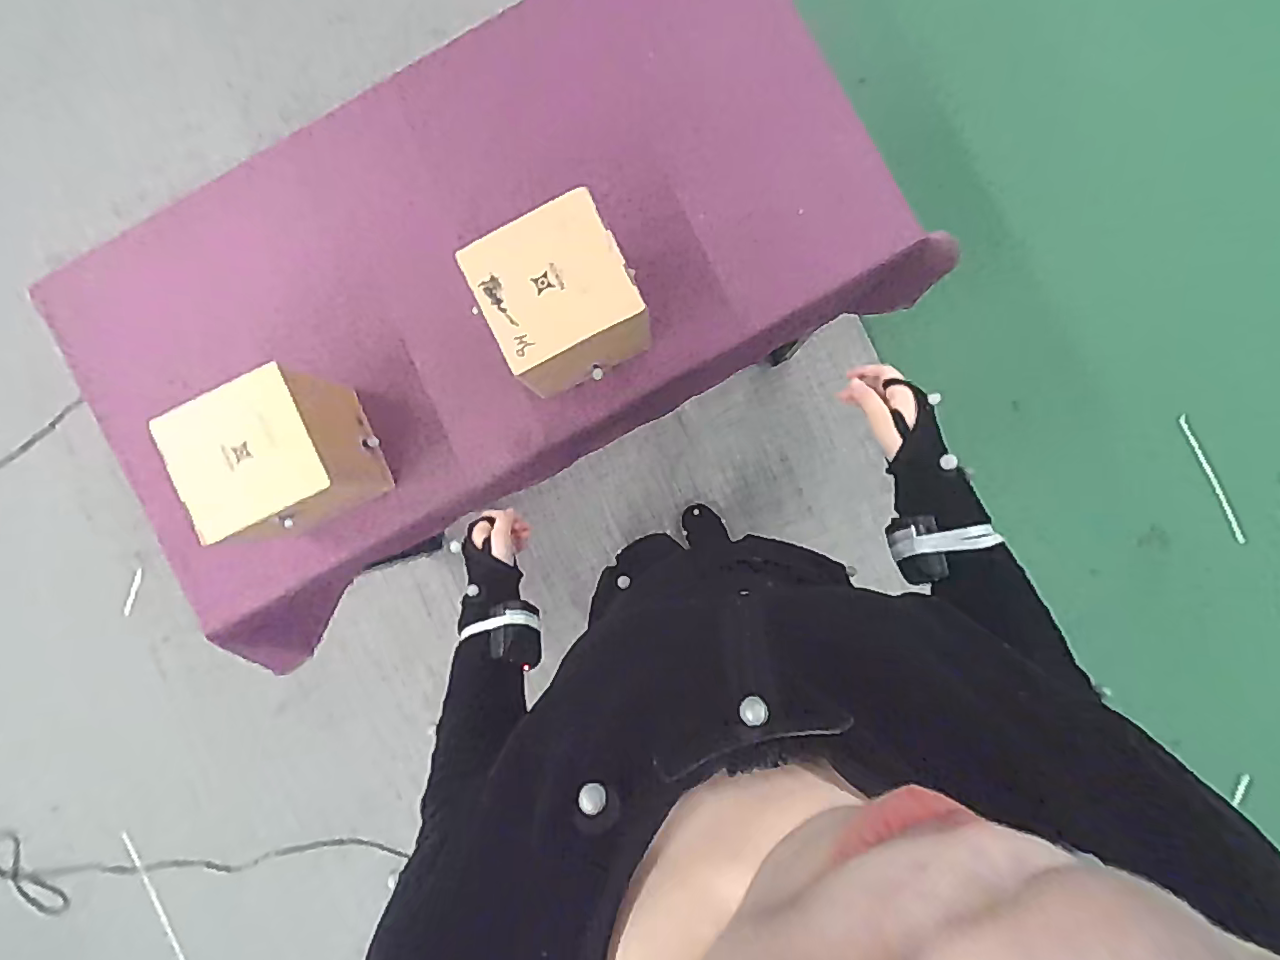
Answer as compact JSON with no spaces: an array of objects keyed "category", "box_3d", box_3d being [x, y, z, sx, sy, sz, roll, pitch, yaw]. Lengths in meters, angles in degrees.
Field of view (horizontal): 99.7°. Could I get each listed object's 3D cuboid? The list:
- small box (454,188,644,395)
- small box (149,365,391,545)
[{"category":"small box","box_3d":[-0.106,-0.232,0.710,0.179,0.176,0.168,-27,87,1]},{"category":"small box","box_3d":[-0.475,-0.027,0.722,0.179,0.176,0.168,-25,89,0]}]
